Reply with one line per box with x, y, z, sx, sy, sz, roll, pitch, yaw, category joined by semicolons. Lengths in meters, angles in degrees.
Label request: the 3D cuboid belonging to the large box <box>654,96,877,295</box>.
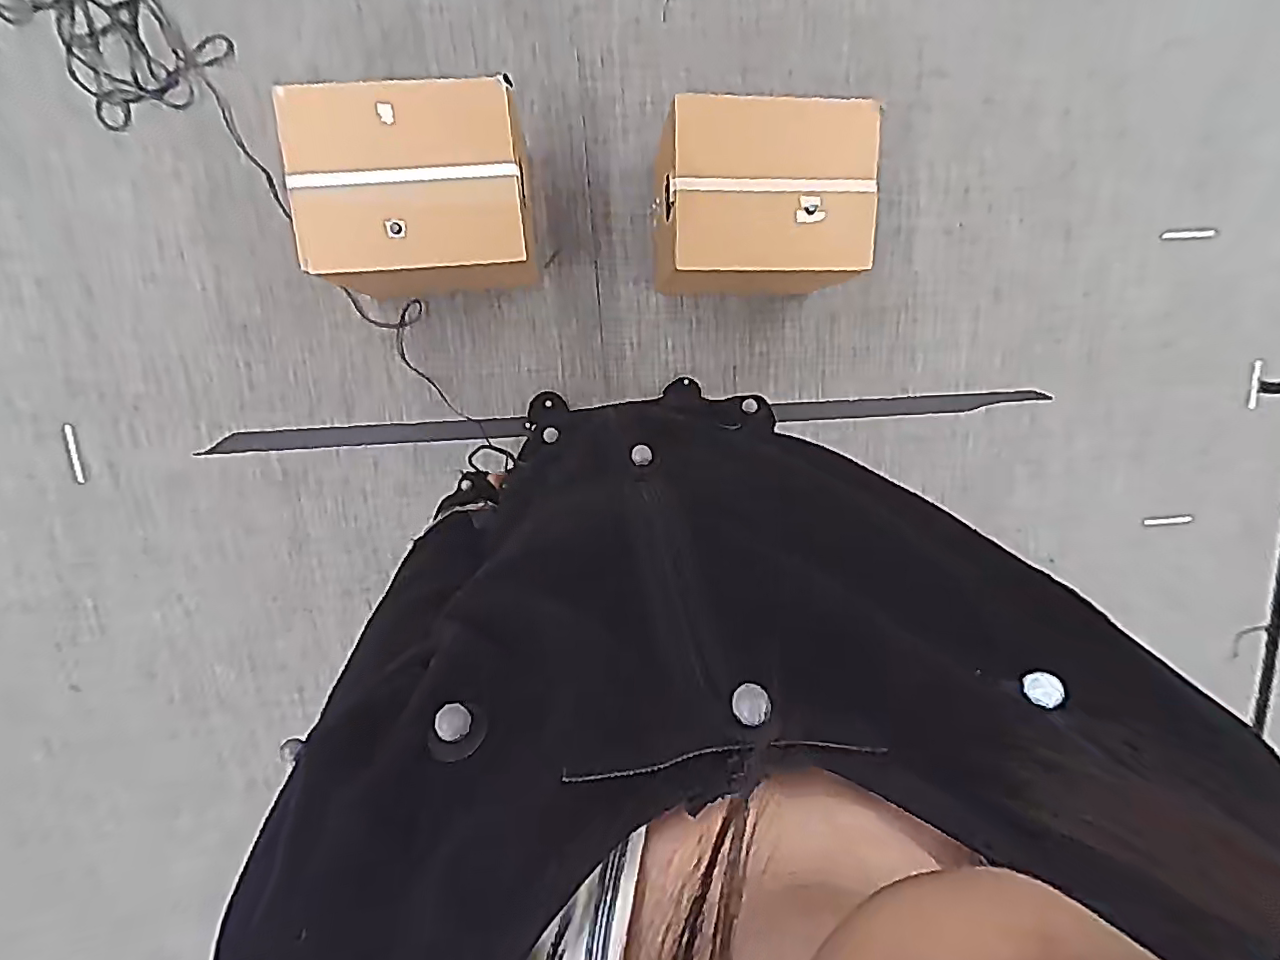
0.250;-0.600;1.202;0.408;0.320;0.320;-2;101;-6;large box
